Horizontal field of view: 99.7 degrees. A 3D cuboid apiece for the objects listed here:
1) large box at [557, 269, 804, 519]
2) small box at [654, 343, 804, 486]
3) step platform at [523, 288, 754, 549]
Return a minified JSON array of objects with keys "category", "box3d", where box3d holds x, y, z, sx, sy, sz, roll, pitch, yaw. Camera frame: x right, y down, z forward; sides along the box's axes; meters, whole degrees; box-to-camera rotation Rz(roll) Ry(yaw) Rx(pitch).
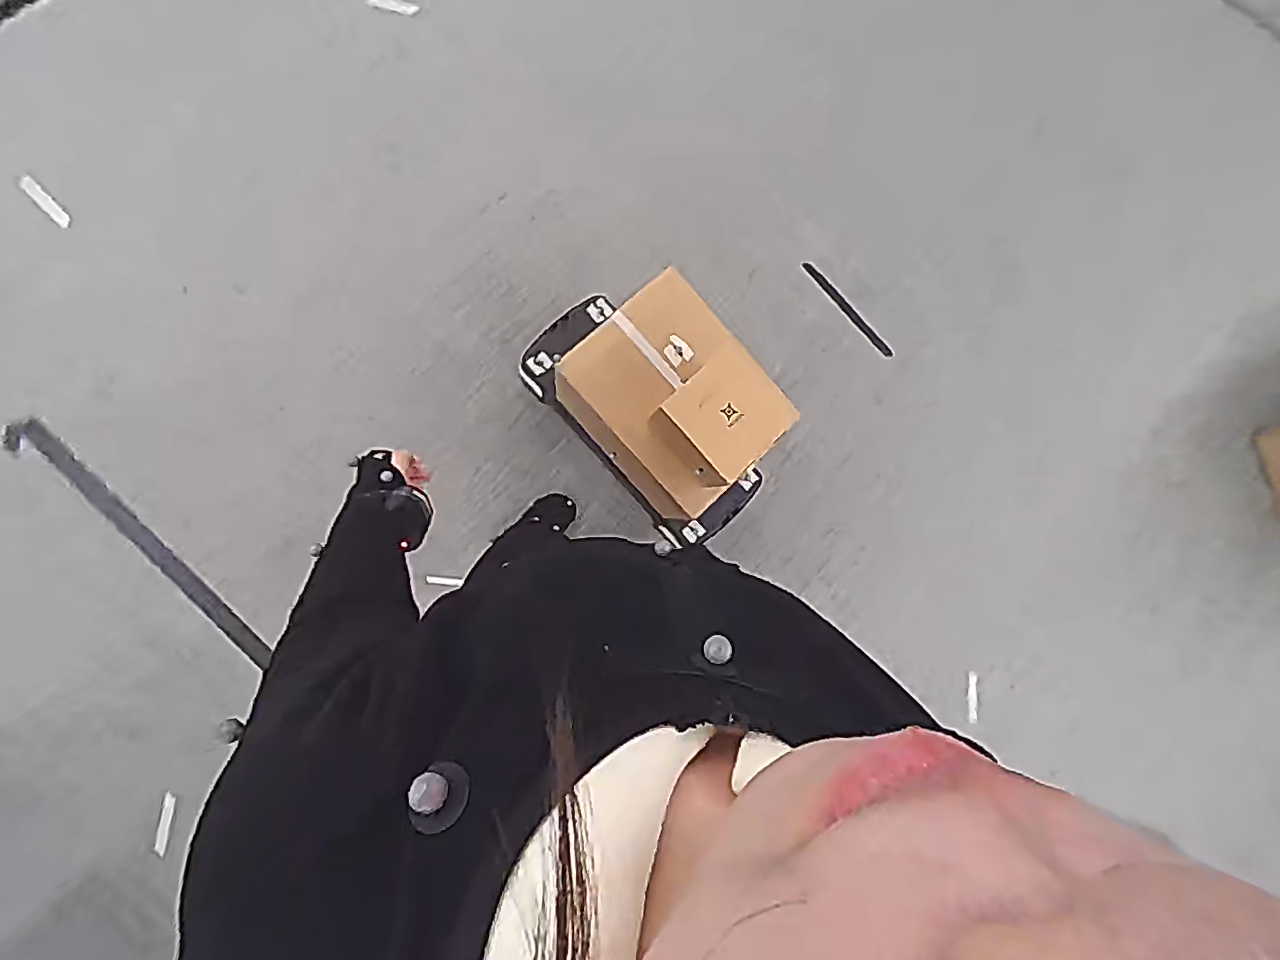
[{"category":"large box","box3d":[0.068,-0.161,1.193,0.320,0.320,0.408,-42,93,-9]},{"category":"small box","box3d":[0.147,-0.106,0.953,0.168,0.176,0.179,-41,93,-8]},{"category":"step platform","box3d":[-0.006,-0.152,1.422,0.286,0.204,0.684,-37,92,-9]}]
